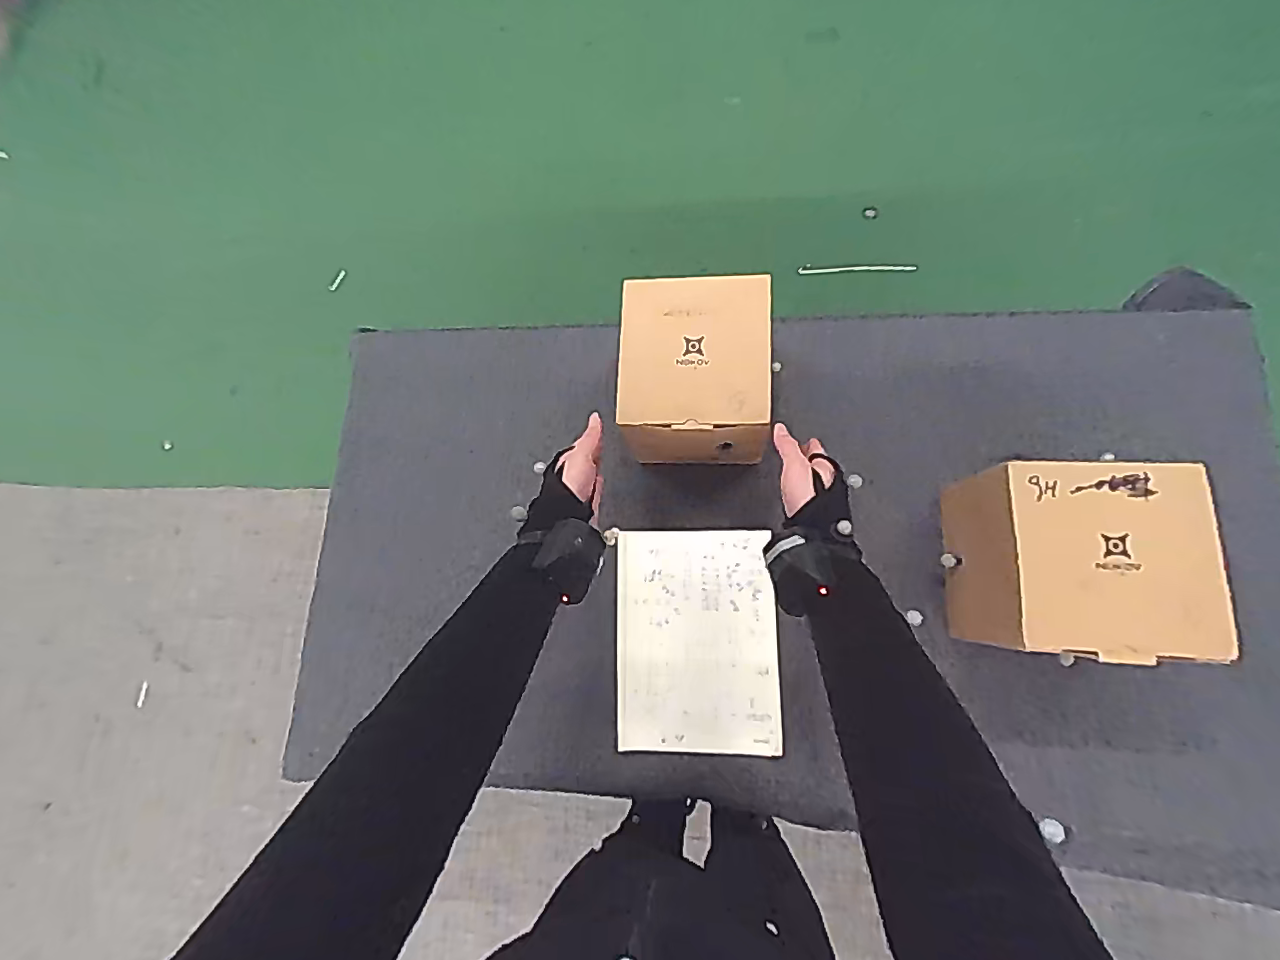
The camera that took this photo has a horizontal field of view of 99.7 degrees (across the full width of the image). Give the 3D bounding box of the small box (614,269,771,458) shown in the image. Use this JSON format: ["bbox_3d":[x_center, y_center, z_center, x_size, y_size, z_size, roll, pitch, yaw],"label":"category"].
[{"bbox_3d":[0.067,-0.126,0.650,0.168,0.176,0.179,0,78,7],"label":"small box"}]

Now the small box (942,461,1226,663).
[{"bbox_3d":[0.436,0.083,0.566,0.168,0.176,0.179,1,80,8],"label":"small box"}]
